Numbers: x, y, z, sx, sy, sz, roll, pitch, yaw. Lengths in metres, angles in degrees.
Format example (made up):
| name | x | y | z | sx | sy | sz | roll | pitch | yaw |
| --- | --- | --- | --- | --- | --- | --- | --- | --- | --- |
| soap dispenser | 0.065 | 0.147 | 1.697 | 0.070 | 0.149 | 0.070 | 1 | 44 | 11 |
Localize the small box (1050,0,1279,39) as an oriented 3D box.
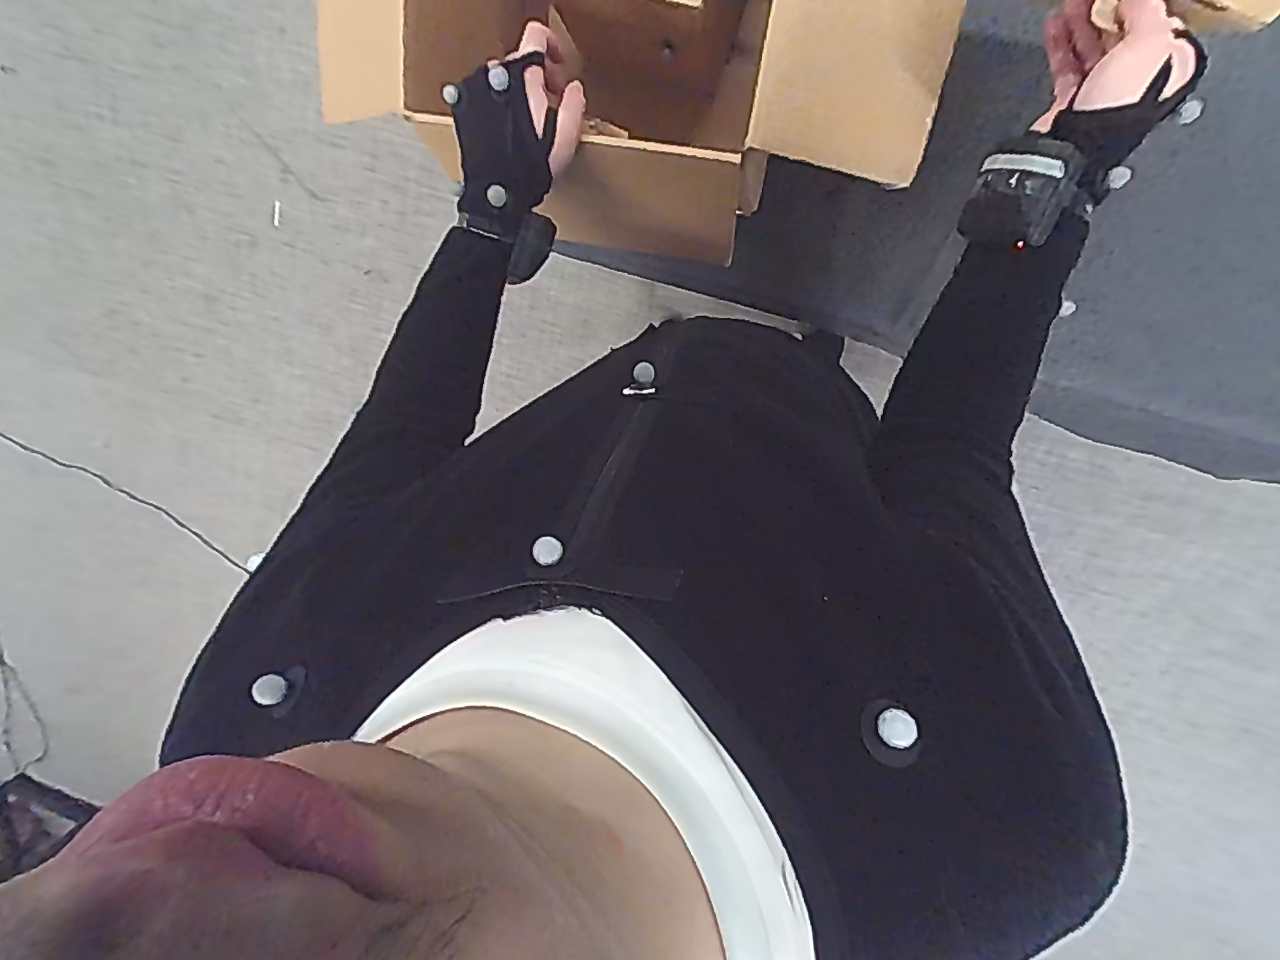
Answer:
| name | x | y | z | sx | sy | sz | roll | pitch | yaw |
| --- | --- | --- | --- | --- | --- | --- | --- | --- | --- |
| small box | 0.369 | -0.433 | 0.362 | 0.168 | 0.176 | 0.179 | 18 | 129 | -6 |
